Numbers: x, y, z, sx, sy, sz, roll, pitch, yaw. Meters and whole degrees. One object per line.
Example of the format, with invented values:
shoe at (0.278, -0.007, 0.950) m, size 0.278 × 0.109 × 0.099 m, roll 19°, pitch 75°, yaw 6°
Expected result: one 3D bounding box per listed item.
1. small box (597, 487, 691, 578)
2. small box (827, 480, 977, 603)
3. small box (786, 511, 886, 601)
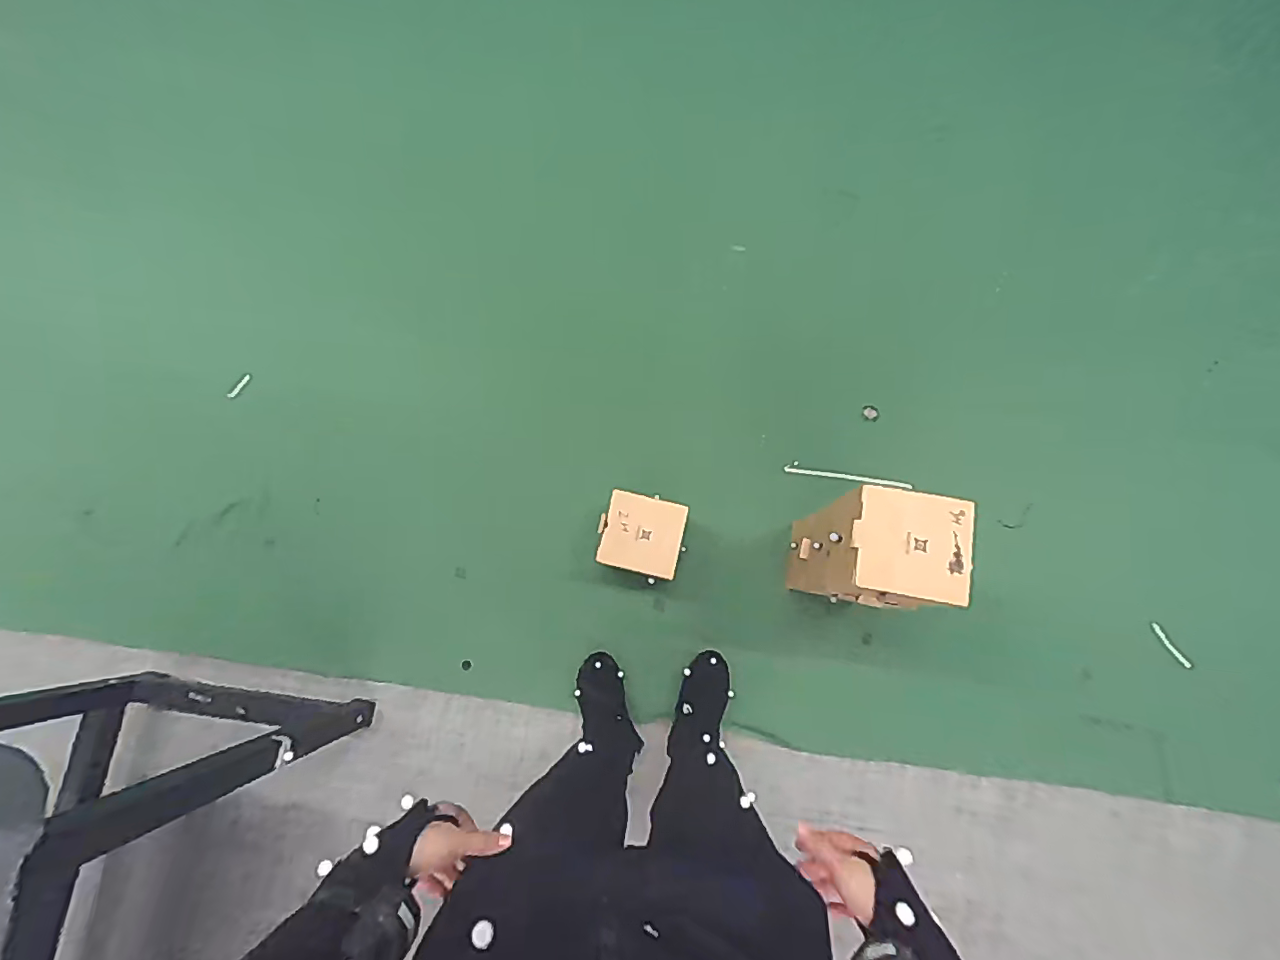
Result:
small box at (0.011, 0.127, 1.253) m, size 0.179 × 0.176 × 0.168 m, roll 13°, pitch 79°, yaw 4°
small box at (0.429, 0.109, 0.911) m, size 0.179 × 0.176 × 0.168 m, roll 10°, pitch 79°, yaw 4°
small box at (0.450, 0.173, 1.232) m, size 0.179 × 0.176 × 0.168 m, roll 11°, pitch 80°, yaw 4°
